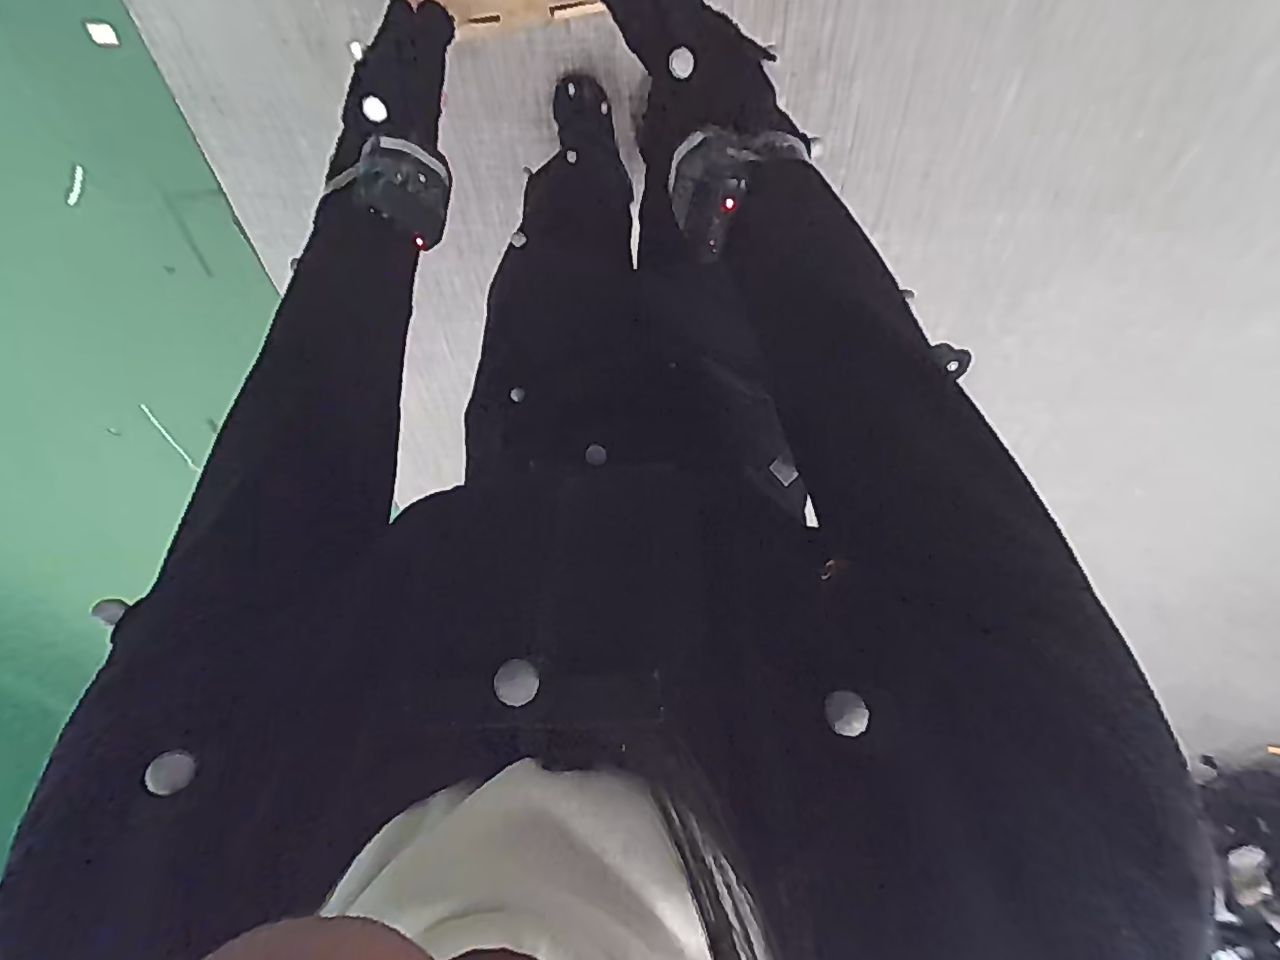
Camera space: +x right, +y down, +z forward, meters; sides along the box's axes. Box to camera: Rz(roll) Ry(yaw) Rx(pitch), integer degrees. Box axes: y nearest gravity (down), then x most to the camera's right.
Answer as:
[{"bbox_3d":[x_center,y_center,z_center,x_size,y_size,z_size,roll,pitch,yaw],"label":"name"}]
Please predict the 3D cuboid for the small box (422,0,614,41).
[{"bbox_3d":[-0.102,-0.503,0.451,0.168,0.176,0.179,-2,138,8],"label":"small box"}]
